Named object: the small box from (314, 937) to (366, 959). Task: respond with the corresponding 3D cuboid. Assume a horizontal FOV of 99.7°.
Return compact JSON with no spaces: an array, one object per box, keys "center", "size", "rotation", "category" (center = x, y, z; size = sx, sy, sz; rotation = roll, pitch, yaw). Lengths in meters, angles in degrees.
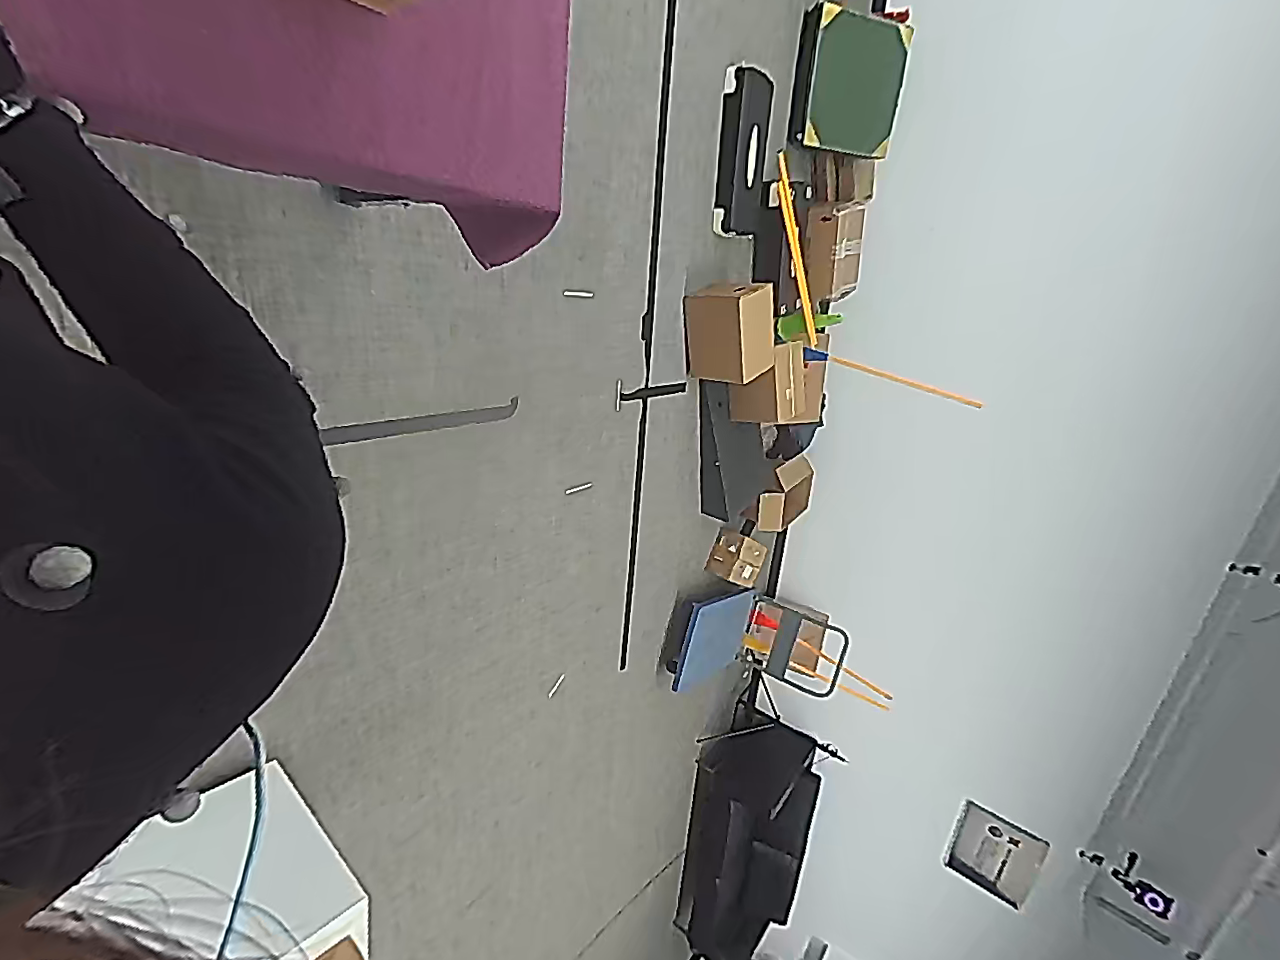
[{"center":[-0.663,1.149,1.154],"size":[0.168,0.176,0.179],"rotation":[-11,116,-52],"category":"small box"}]
